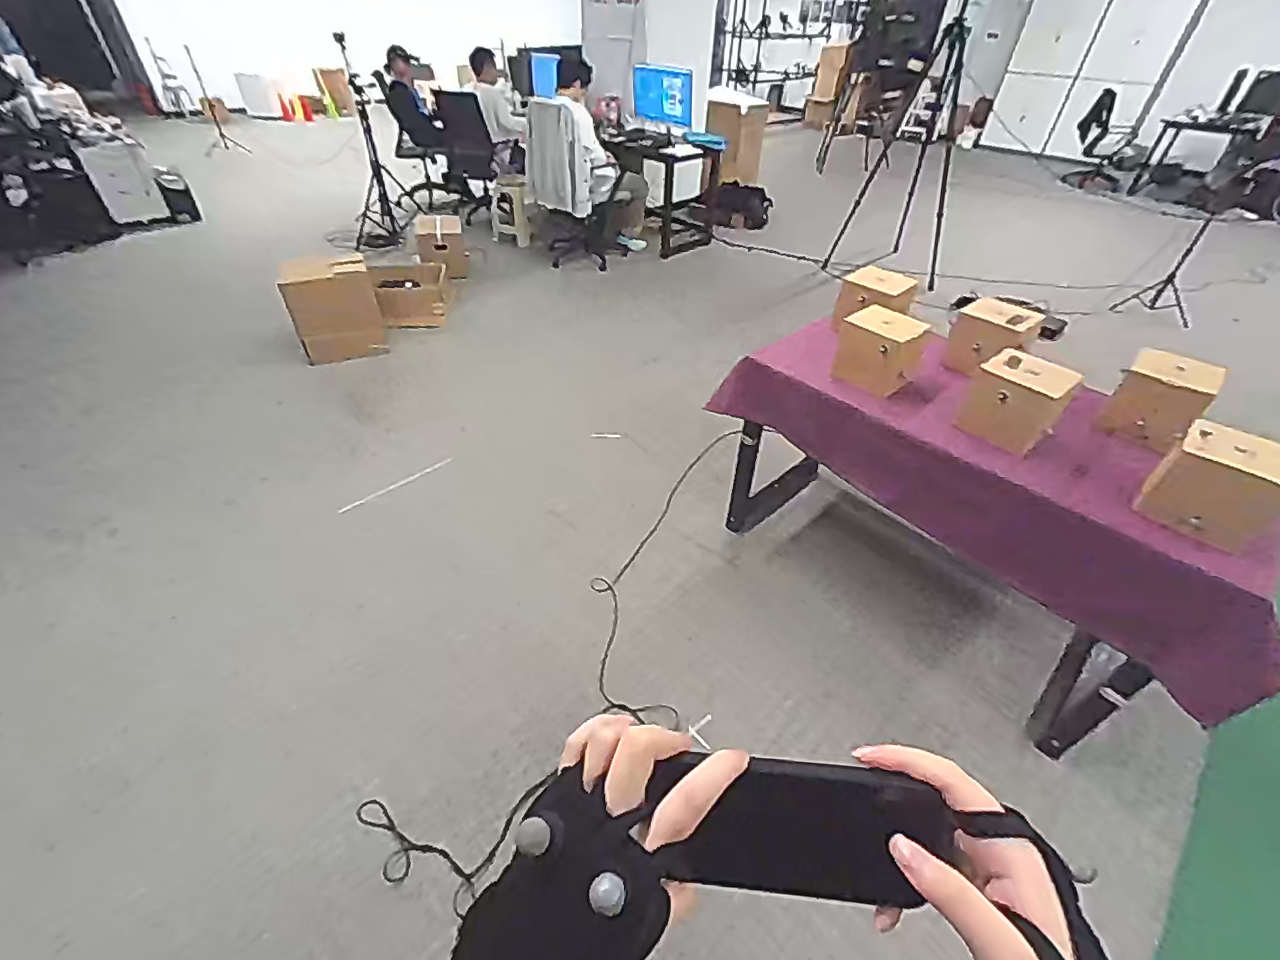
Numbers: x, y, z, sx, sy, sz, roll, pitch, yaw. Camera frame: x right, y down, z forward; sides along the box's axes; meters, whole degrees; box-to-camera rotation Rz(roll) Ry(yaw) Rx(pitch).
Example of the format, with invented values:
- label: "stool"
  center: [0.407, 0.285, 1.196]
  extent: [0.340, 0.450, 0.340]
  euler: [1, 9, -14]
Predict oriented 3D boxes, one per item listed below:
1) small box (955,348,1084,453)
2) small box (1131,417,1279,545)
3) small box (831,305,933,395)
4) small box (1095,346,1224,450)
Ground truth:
- label: "small box"
  center: [0.911, -0.193, 1.314]
  extent: [0.168, 0.176, 0.179]
  euler: [-28, 50, -29]
- label: "small box"
  center: [1.160, 0.007, 1.089]
  extent: [0.168, 0.176, 0.179]
  euler: [-31, 51, -32]
- label: "small box"
  center: [0.662, -0.360, 1.500]
  extent: [0.168, 0.176, 0.179]
  euler: [-29, 50, -31]
- label: "small box"
  center: [1.276, -0.204, 1.337]
  extent: [0.168, 0.176, 0.179]
  euler: [33, 50, 32]
